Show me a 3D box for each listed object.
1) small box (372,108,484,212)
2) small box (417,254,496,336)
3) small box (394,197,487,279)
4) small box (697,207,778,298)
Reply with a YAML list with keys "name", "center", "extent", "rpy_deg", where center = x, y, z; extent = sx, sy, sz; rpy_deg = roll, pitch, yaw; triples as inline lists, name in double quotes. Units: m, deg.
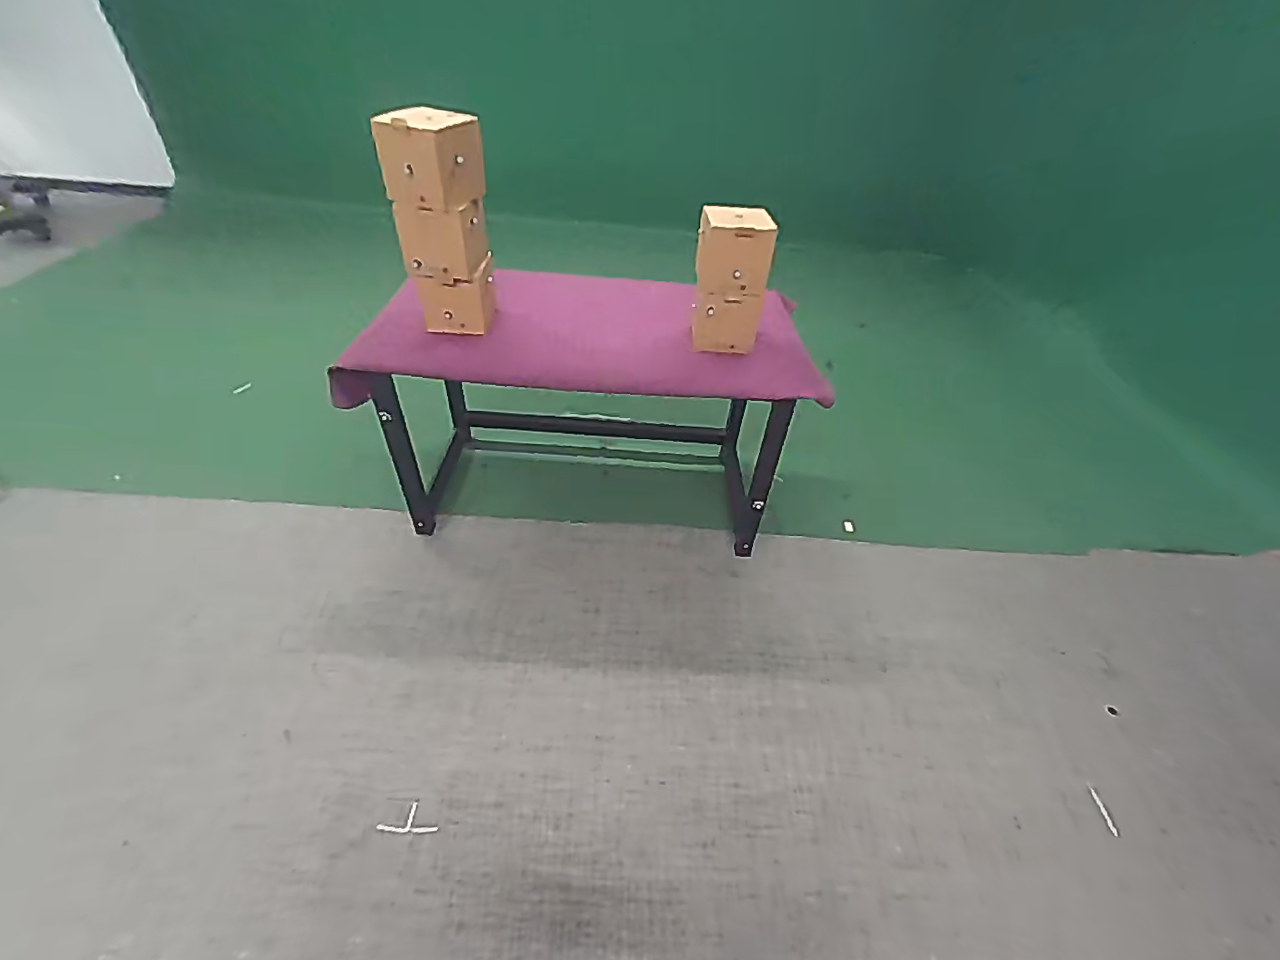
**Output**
- name: "small box"
  center: [-0.487, -0.755, 1.279]
  extent: [0.168, 0.176, 0.179]
  rpy_deg: [19, 46, 12]
- name: "small box"
  center: [-0.503, -0.525, 1.514]
  extent: [0.168, 0.176, 0.179]
  rpy_deg: [3, 44, -3]
- name: "small box"
  center: [-0.500, -0.634, 1.390]
  extent: [0.168, 0.176, 0.179]
  rpy_deg: [7, 43, 0]
- name: "small box"
  center: [0.248, -0.598, 1.421]
  extent: [0.168, 0.176, 0.179]
  rpy_deg: [1, 43, -3]
